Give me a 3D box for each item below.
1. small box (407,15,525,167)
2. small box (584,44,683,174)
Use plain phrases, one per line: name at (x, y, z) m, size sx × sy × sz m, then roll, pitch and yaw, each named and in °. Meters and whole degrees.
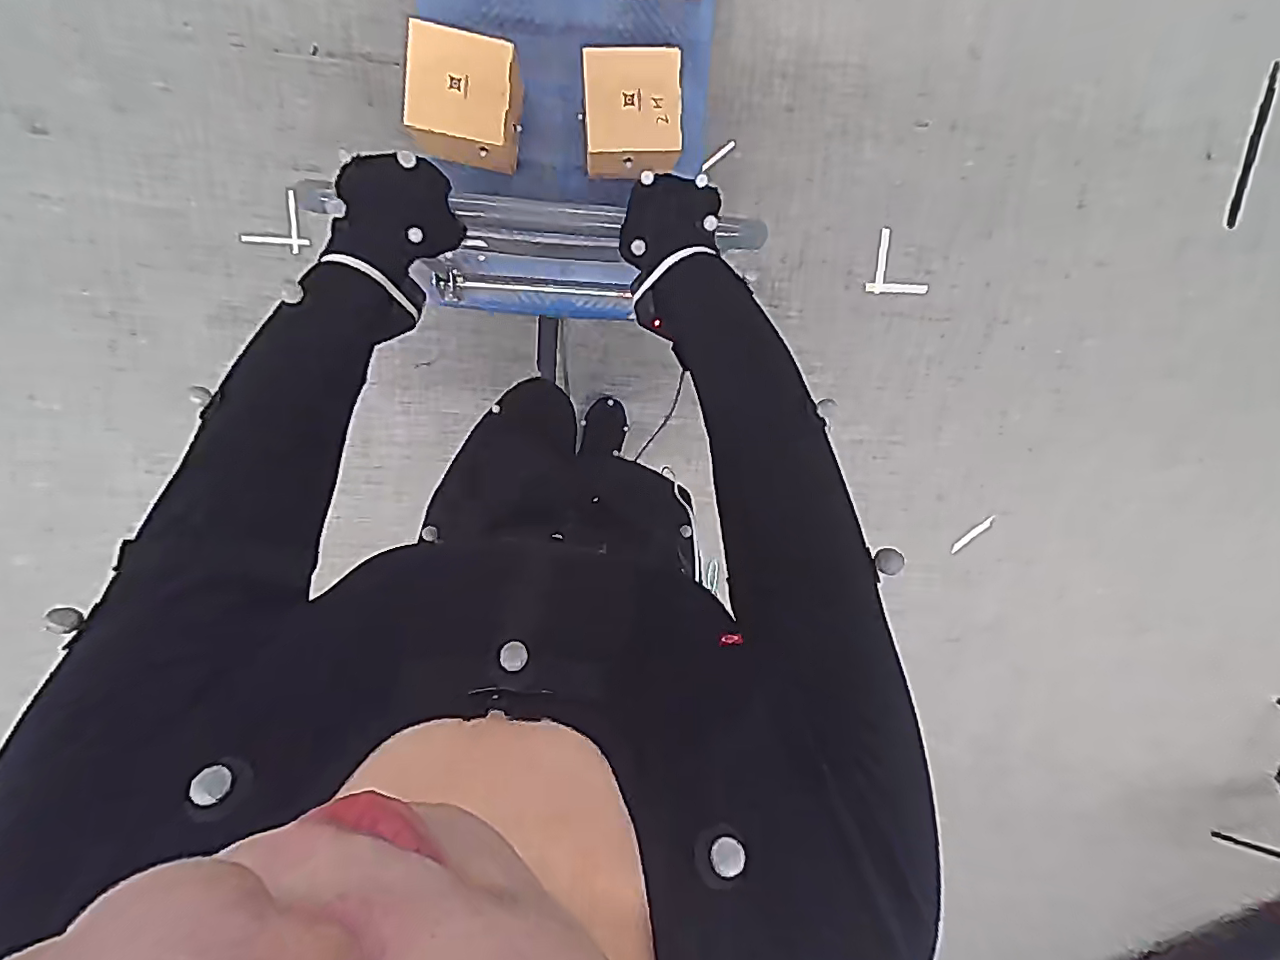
small box at (-0.320, -0.717, 1.020) m, size 0.179 × 0.176 × 0.168 m, roll 7°, pitch 103°, yaw -9°
small box at (-0.015, -0.710, 1.051) m, size 0.179 × 0.176 × 0.168 m, roll -3°, pitch 105°, yaw -4°
